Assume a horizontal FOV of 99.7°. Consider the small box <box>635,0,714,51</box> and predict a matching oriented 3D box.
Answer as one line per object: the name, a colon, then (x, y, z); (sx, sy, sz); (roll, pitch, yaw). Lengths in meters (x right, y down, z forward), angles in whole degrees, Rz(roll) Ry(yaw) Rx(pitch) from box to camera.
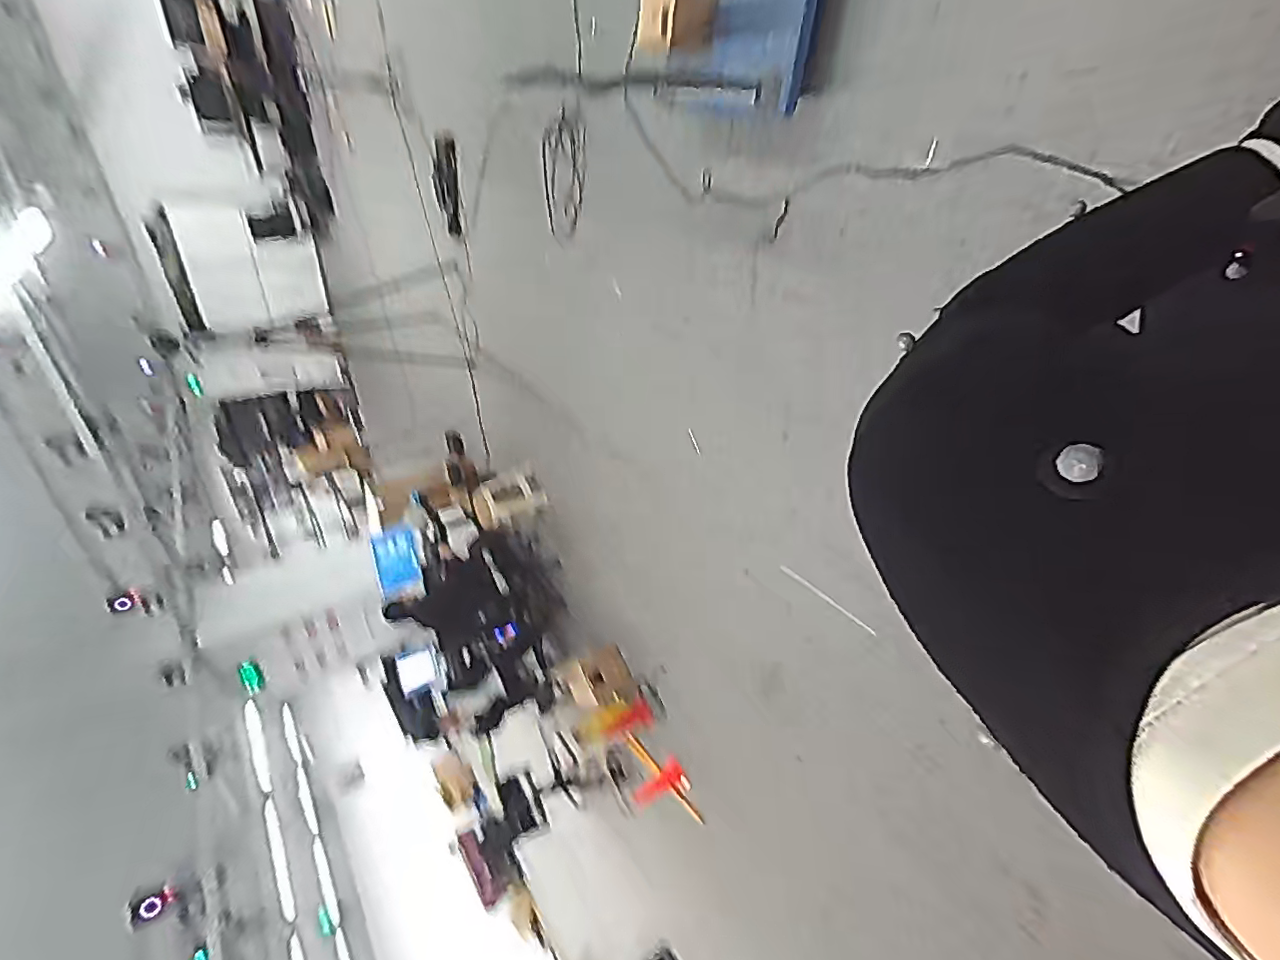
small box: (0.110, -1.455, 1.680); (0.179, 0.176, 0.168); (41, 137, 38)
